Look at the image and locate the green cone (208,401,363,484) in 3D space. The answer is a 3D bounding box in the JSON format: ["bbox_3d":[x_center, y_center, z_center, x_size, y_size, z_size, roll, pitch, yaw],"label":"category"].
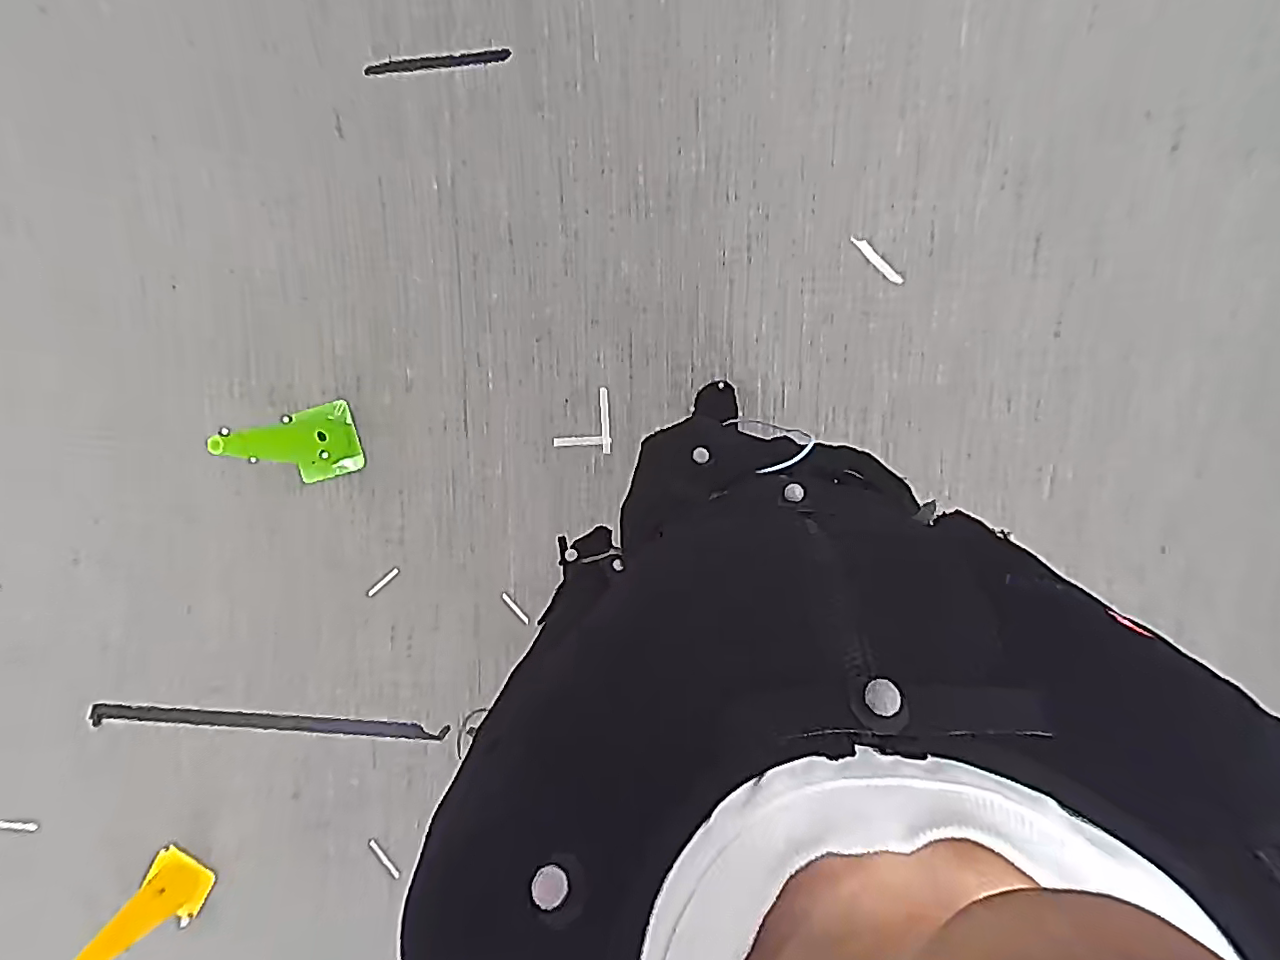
[{"bbox_3d":[-0.908,-0.087,1.351,0.202,0.368,0.200,-16,94,6],"label":"green cone"}]
